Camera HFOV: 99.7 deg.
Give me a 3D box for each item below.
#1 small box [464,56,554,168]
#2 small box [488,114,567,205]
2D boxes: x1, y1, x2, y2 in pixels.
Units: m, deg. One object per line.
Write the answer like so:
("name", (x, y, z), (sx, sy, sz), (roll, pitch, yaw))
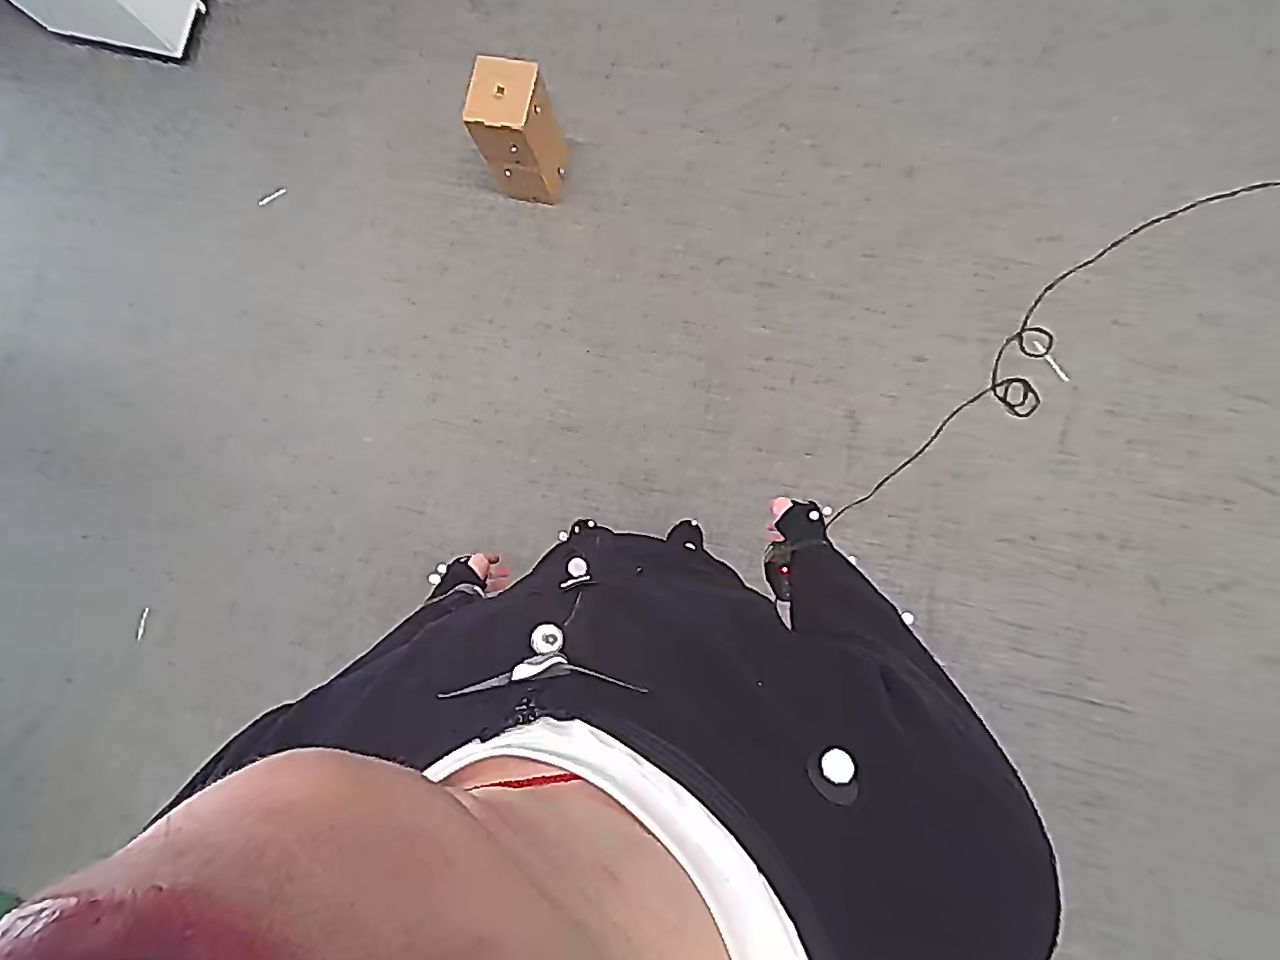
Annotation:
("small box", (-0.340, -0.970, 1.438), (0.168, 0.176, 0.179), (12, 85, 6))
("small box", (-0.324, -0.956, 1.599), (0.168, 0.176, 0.179), (14, 86, 7))
